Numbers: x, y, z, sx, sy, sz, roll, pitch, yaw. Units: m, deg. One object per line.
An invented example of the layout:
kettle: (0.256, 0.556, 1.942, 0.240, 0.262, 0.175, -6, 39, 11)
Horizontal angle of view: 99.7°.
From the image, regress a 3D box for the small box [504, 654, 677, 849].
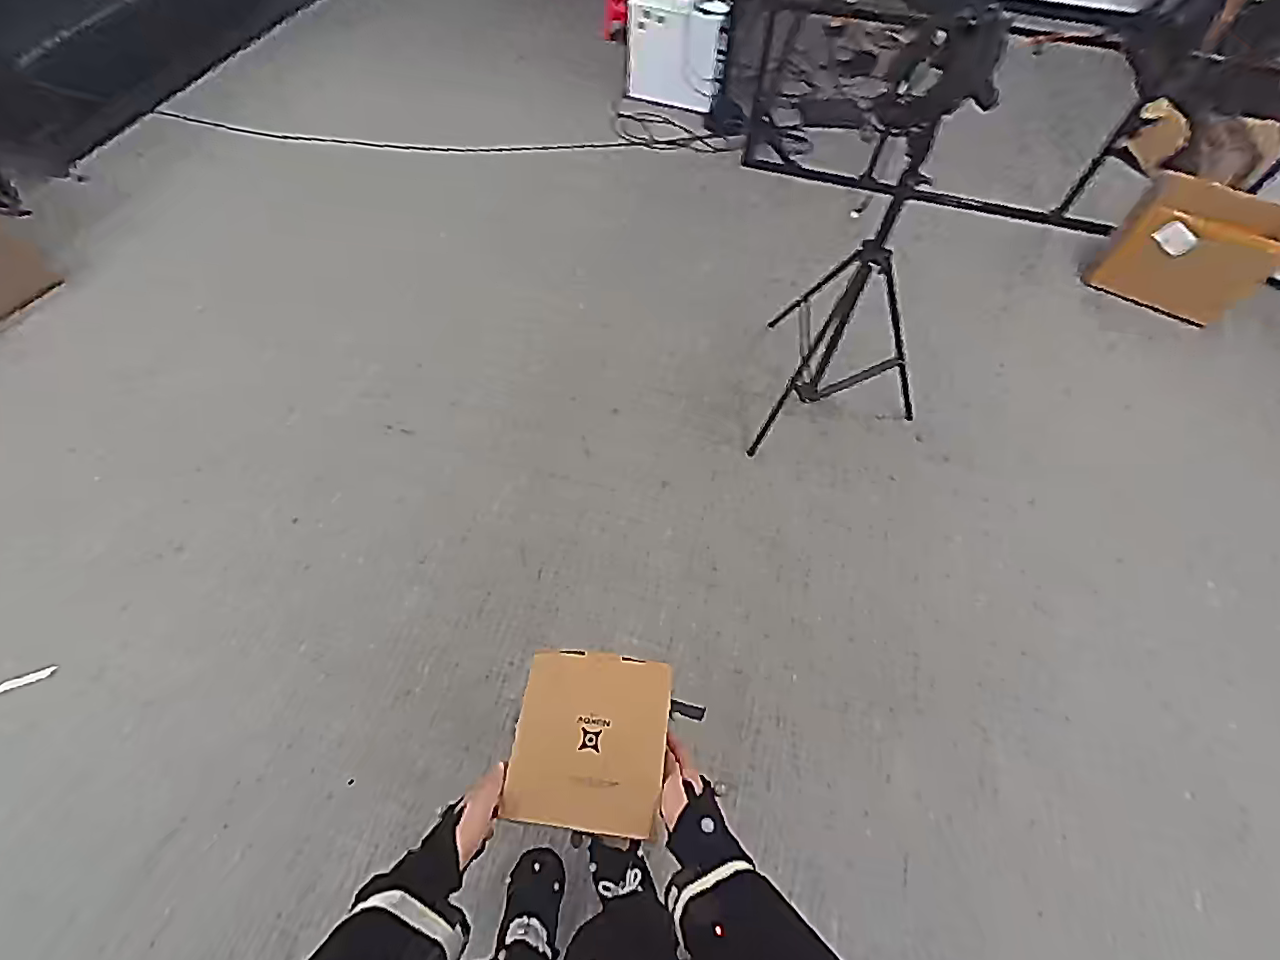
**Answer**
small box: (-0.046, 0.324, 0.646, 0.168, 0.176, 0.179, 4, 58, 5)
